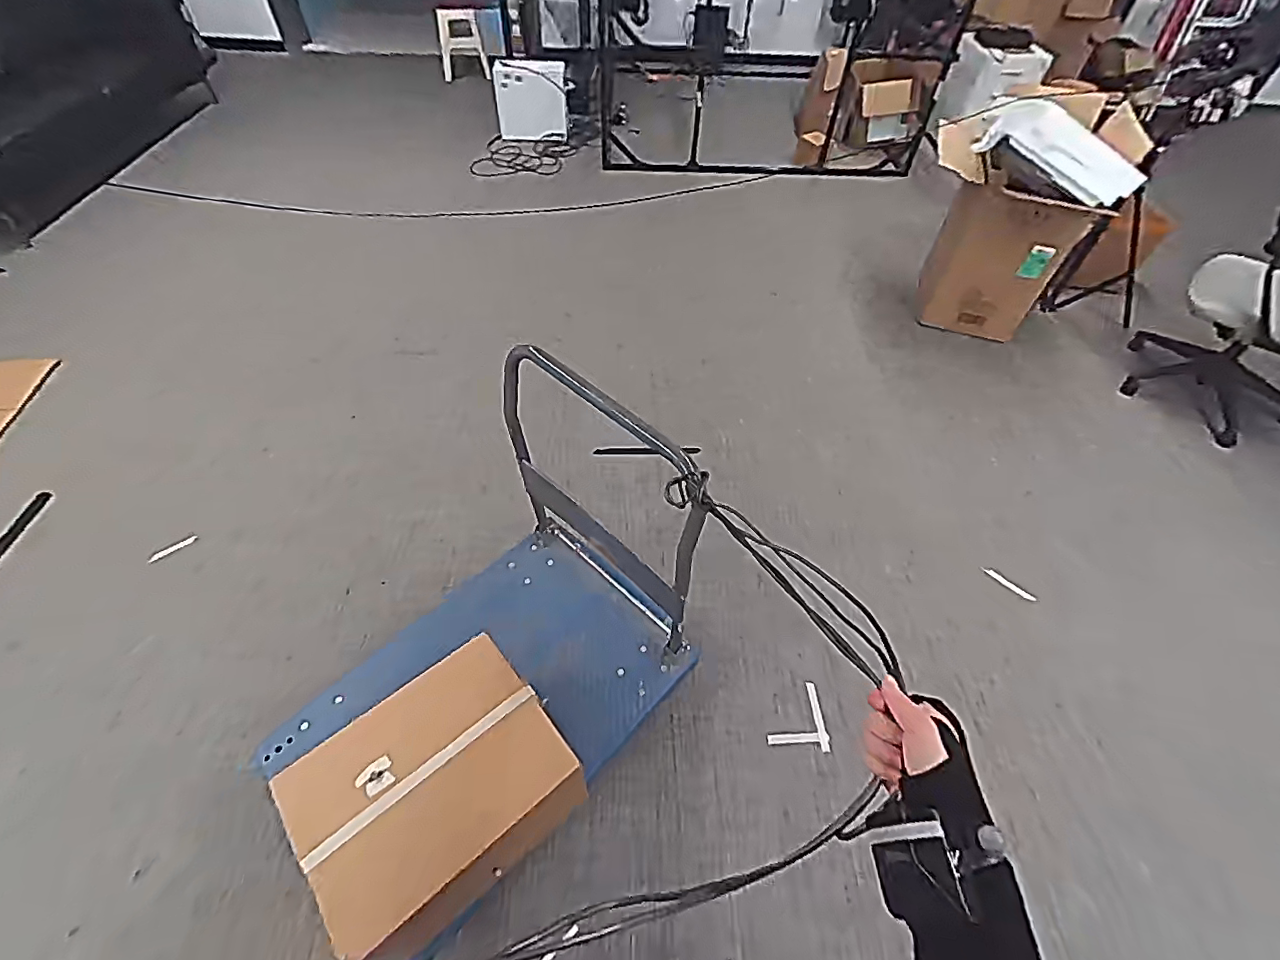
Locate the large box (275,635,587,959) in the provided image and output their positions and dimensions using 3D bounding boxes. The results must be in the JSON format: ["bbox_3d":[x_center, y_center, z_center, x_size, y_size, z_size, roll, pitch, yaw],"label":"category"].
[{"bbox_3d":[-0.348,0.578,1.006,0.408,0.320,0.320,-33,59,-25],"label":"large box"}]
